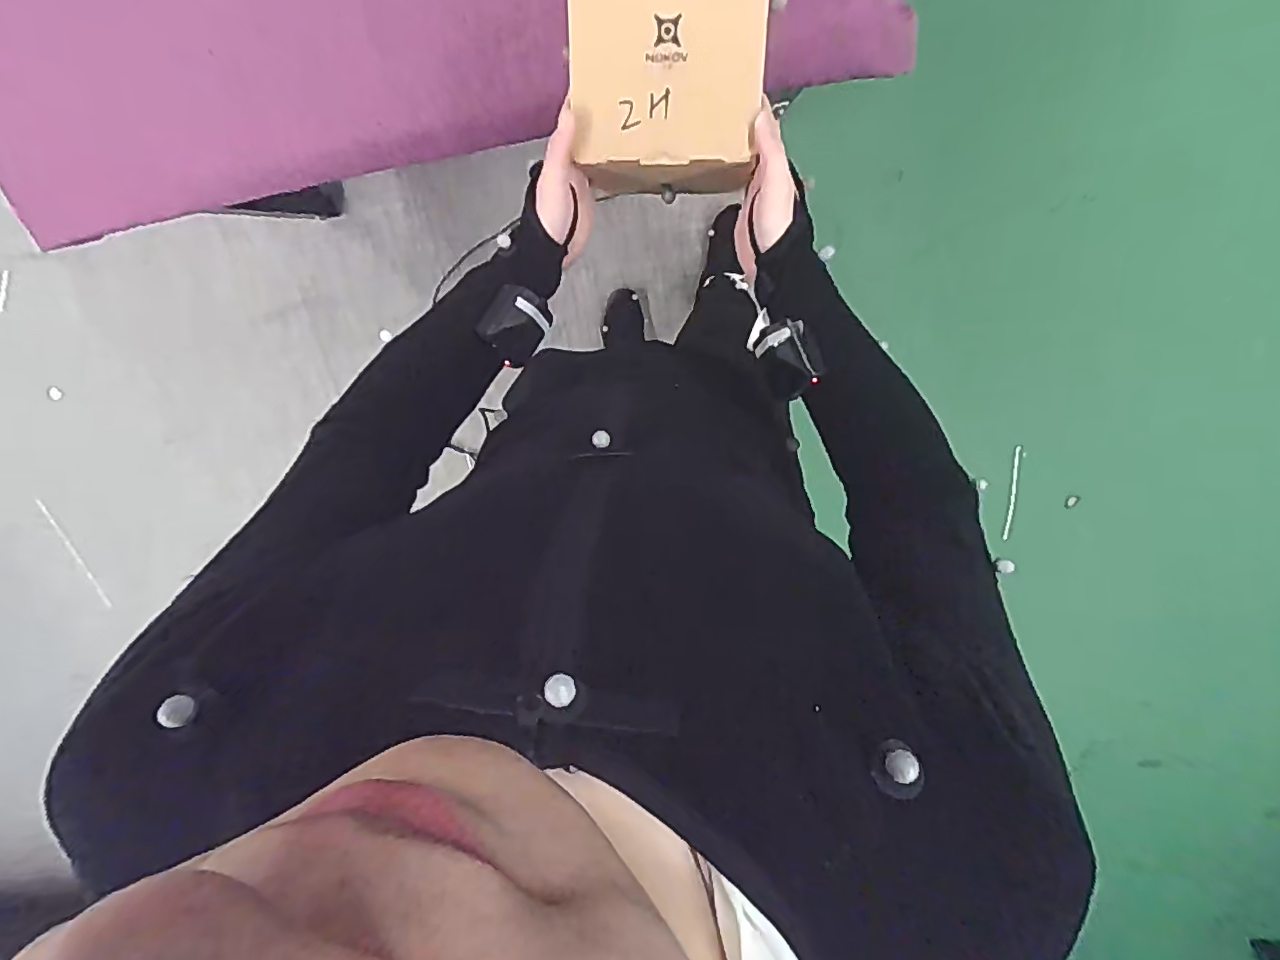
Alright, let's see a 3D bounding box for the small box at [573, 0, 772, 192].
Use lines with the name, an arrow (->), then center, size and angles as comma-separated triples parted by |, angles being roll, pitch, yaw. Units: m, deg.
small box -> 0.032, -0.394, 0.522 | 0.168, 0.176, 0.179 | 3, 109, 5
